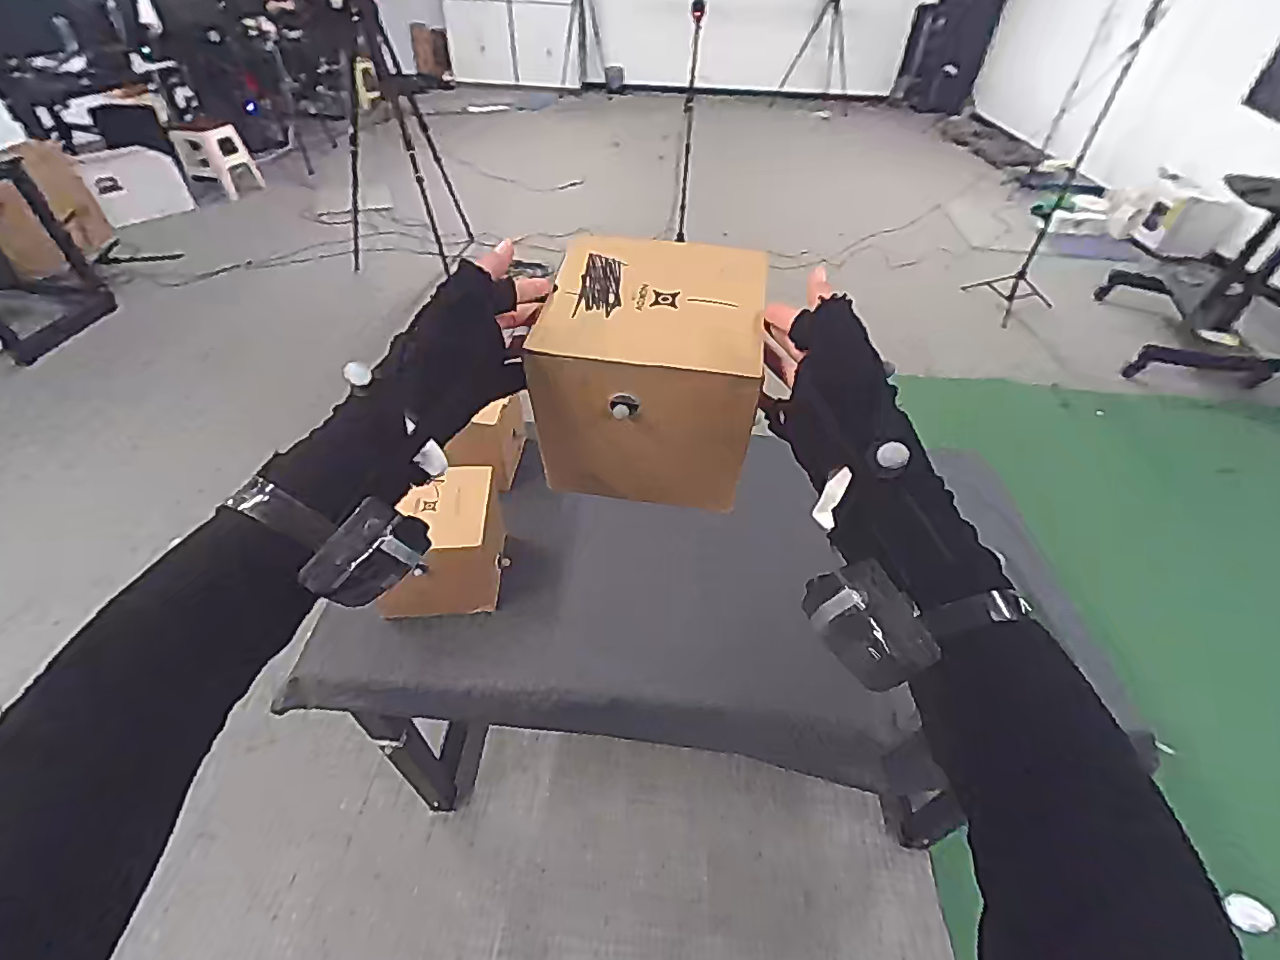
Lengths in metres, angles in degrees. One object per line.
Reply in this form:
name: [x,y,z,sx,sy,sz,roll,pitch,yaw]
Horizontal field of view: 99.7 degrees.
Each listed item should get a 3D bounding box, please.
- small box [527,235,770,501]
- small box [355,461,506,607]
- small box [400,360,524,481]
small box: [0.015,-0.097,0.495,0.179,0.176,0.168,8,54,5]
small box: [-0.314,0.087,0.853,0.179,0.176,0.168,-2,45,-7]
small box: [-0.330,-0.110,1.048,0.179,0.176,0.168,4,45,0]
